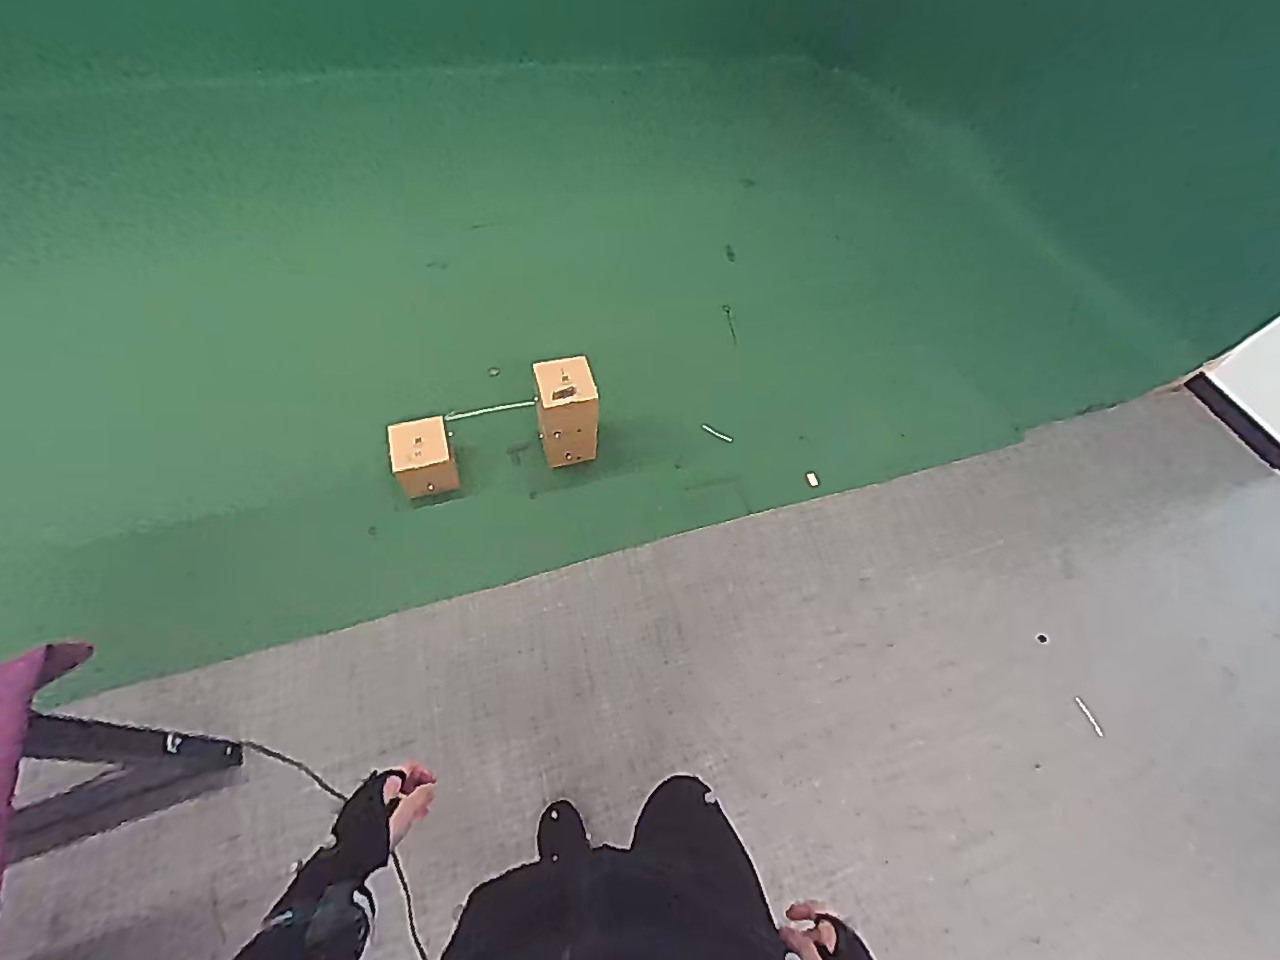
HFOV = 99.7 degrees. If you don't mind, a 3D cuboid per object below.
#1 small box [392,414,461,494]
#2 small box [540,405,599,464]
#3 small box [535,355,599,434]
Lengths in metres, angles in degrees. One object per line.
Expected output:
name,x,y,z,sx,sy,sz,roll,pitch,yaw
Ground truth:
small box,-0.676,-0.081,1.719,0.168,0.176,0.179,-13,62,-12
small box,-0.242,-0.178,1.825,0.168,0.176,0.179,-12,62,-13
small box,-0.225,-0.260,1.684,0.168,0.176,0.179,-11,61,-13
